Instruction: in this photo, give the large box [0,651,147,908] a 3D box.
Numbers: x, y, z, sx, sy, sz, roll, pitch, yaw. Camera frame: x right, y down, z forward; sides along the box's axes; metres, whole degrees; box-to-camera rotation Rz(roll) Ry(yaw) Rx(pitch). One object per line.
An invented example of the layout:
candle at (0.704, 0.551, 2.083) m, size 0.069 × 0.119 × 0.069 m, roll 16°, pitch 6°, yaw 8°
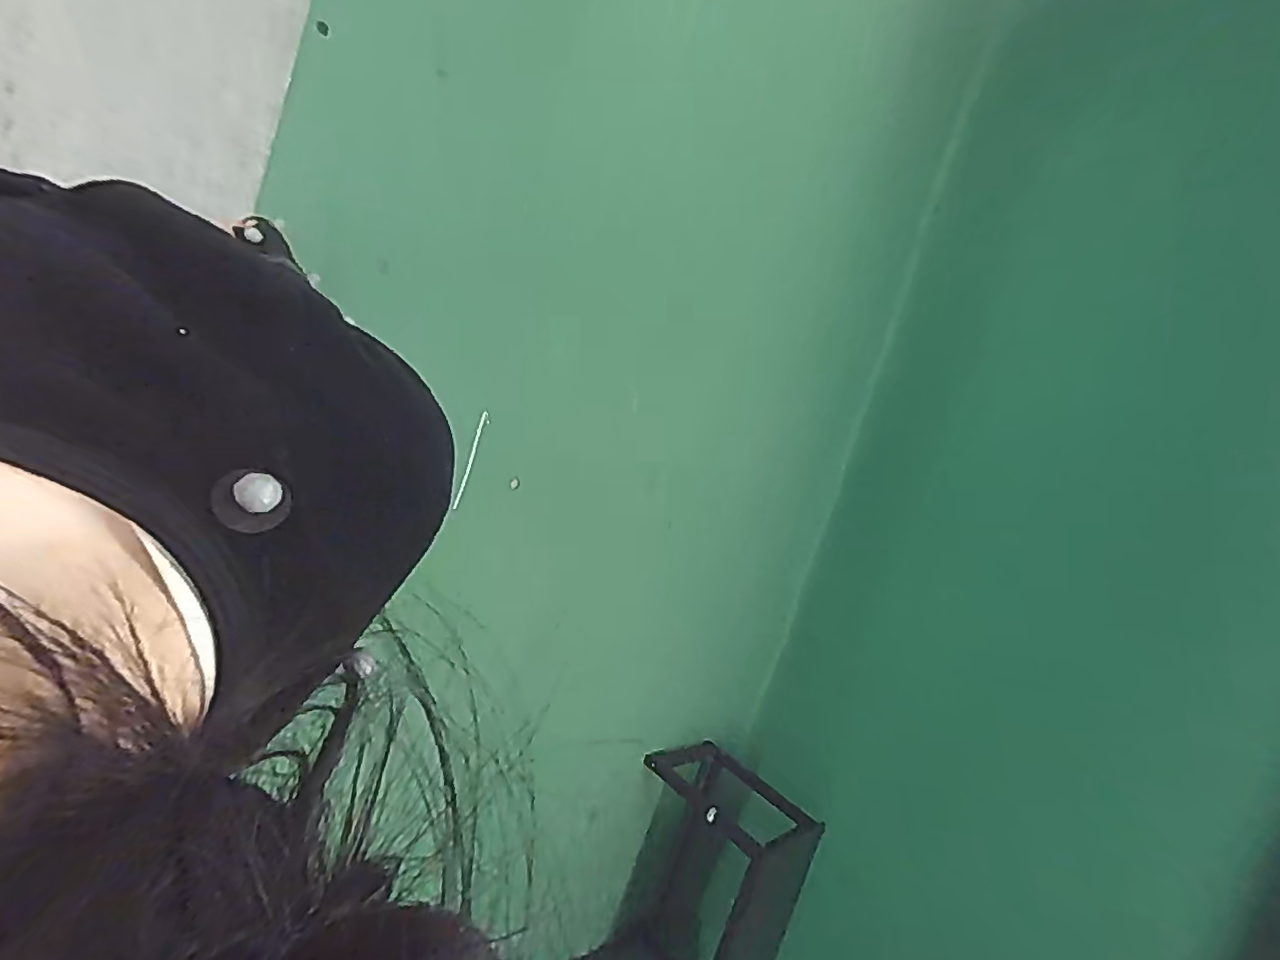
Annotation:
large box at (-1.213, 0.575, 1.006) m, size 0.408 × 0.320 × 0.320 m, roll -6°, pitch 110°, yaw -45°
